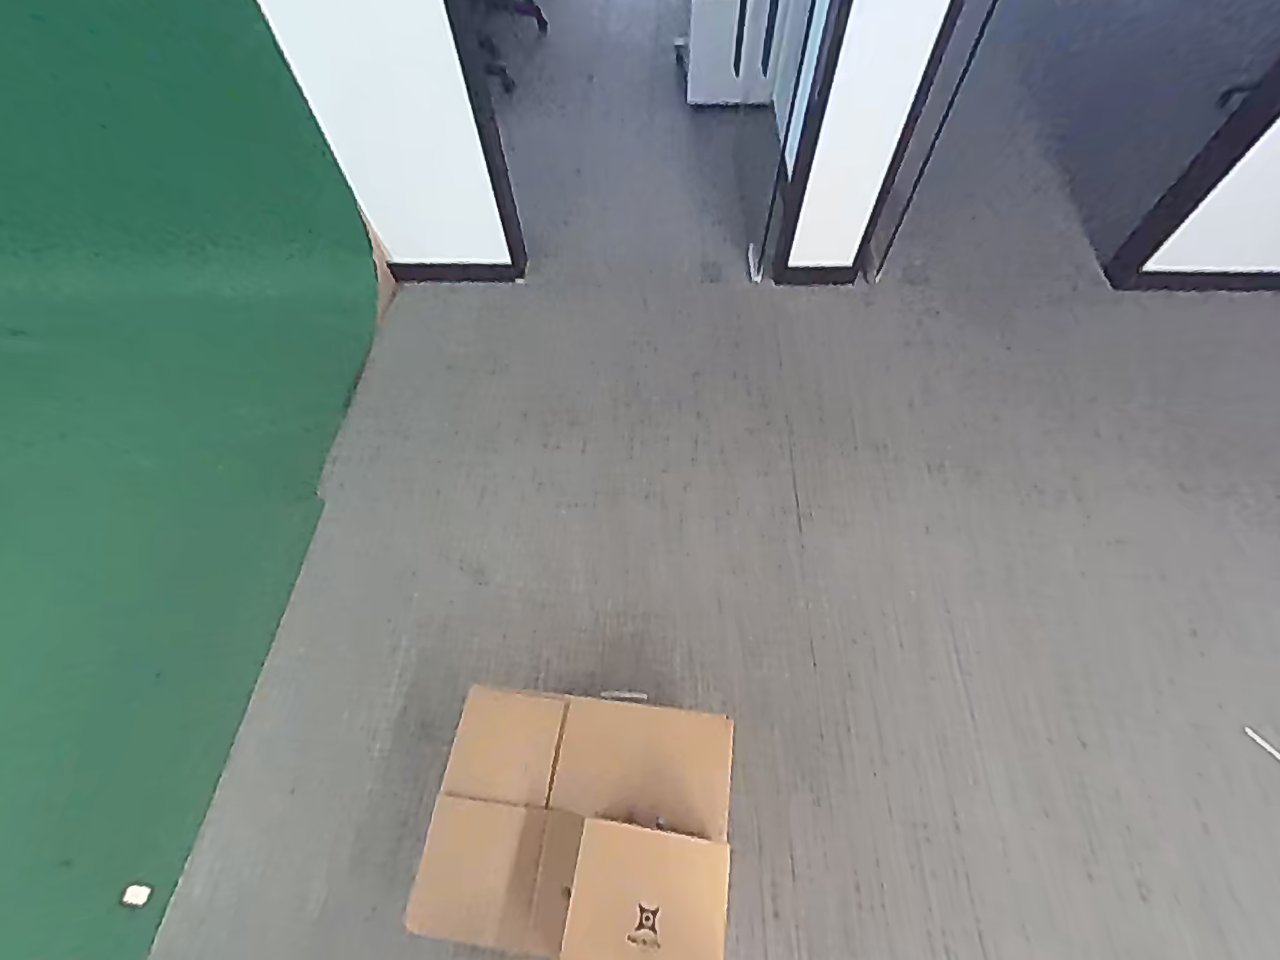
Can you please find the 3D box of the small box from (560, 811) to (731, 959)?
[{"bbox_3d":[0.006,0.502,0.627,0.168,0.176,0.179,8,58,6],"label":"small box"}]
